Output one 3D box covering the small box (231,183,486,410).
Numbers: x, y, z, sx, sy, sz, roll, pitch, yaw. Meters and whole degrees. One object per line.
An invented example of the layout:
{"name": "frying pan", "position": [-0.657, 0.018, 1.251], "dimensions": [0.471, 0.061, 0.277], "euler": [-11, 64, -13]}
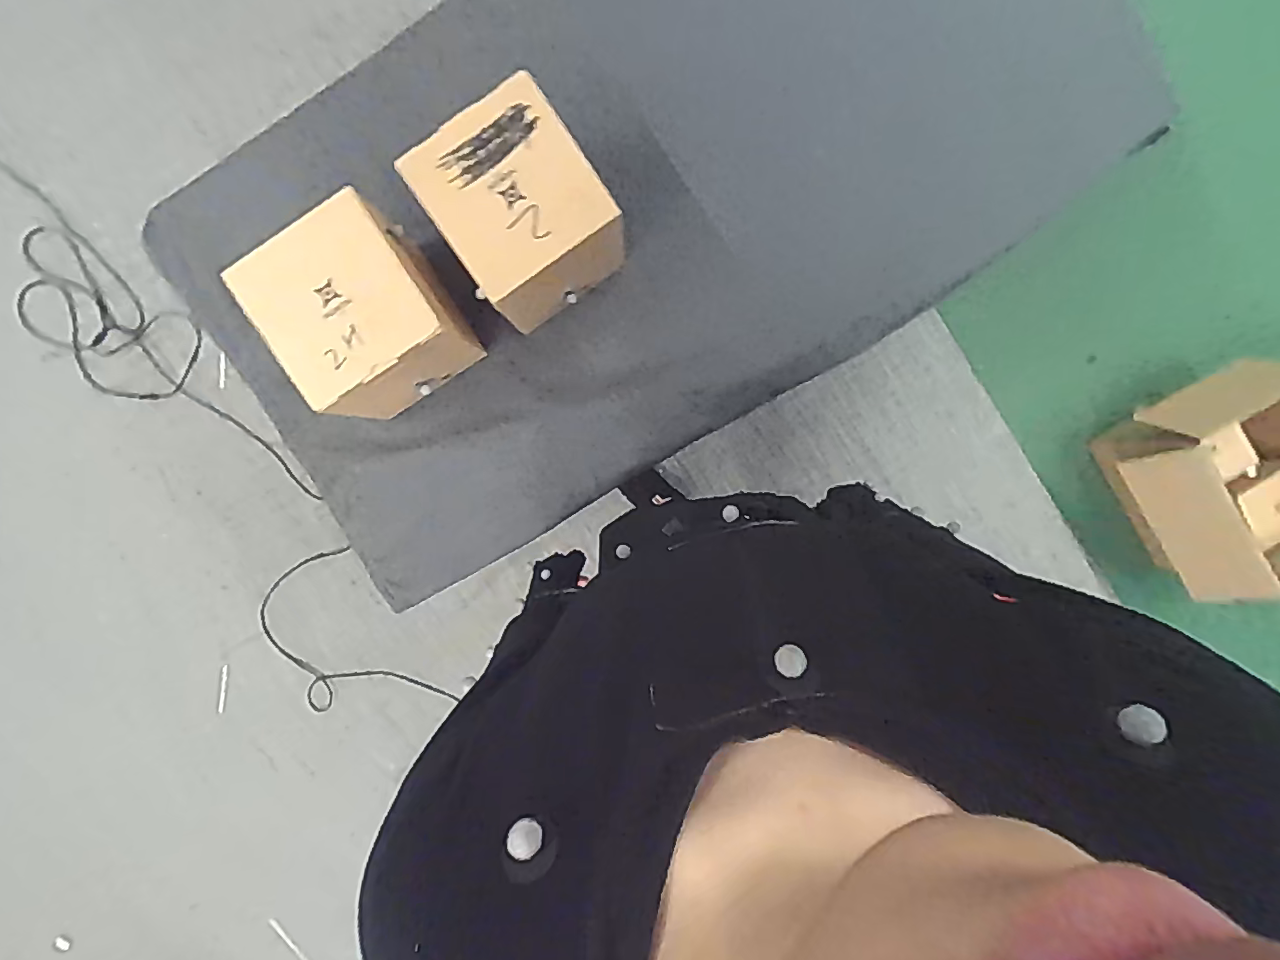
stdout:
{"name": "small box", "position": [-0.314, -0.198, 0.644], "dimensions": [0.168, 0.176, 0.179], "euler": [-33, 93, 2]}
